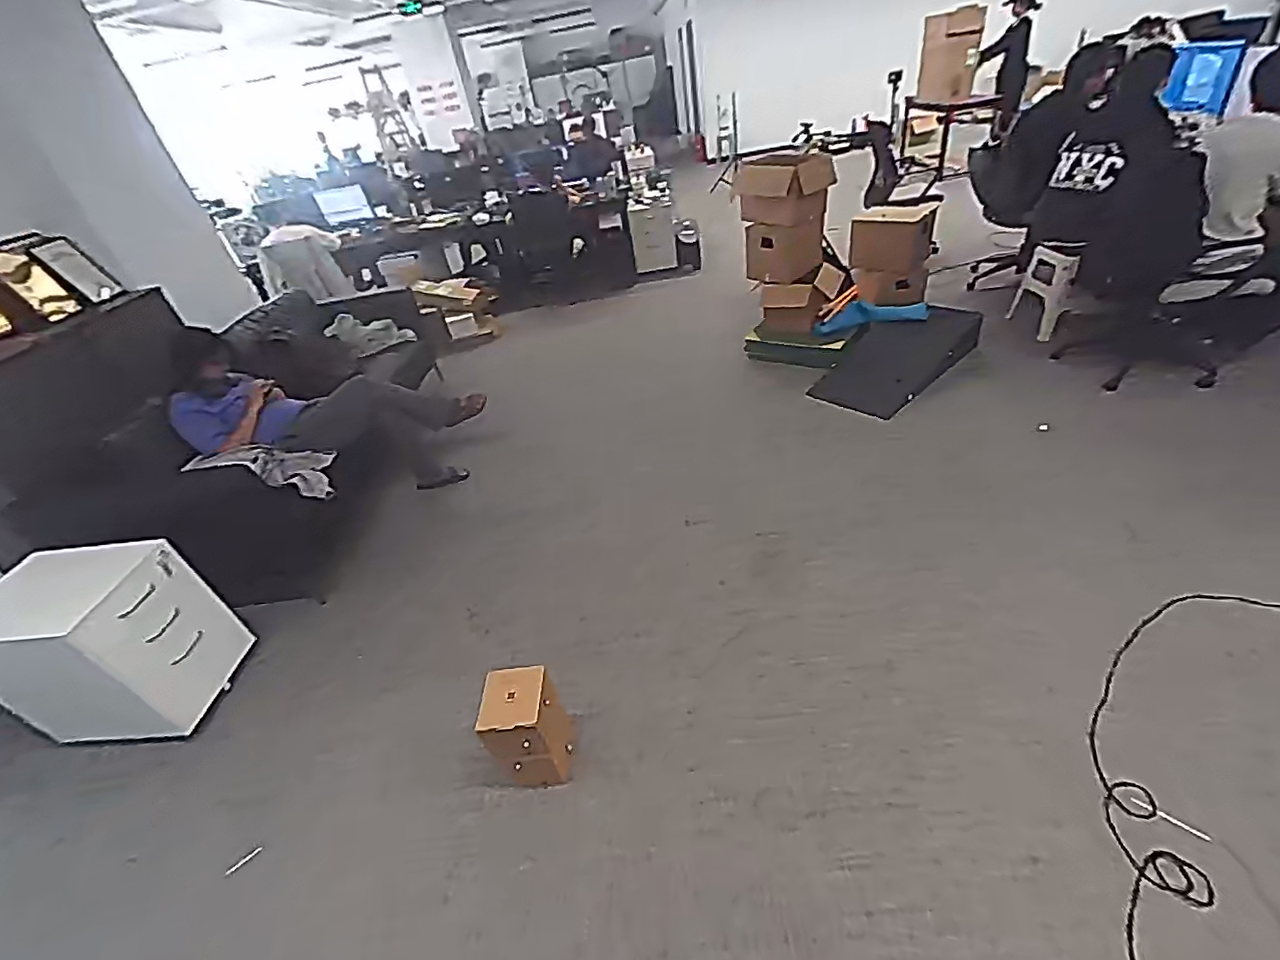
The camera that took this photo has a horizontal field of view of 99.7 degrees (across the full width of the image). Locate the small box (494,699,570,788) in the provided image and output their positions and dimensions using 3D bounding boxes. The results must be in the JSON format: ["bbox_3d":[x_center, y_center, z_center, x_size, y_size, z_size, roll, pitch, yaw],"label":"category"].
[{"bbox_3d":[-0.309,0.777,1.594,0.168,0.176,0.179,-7,35,6],"label":"small box"}]

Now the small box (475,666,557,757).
[{"bbox_3d":[-0.336,0.648,1.500,0.168,0.176,0.179,-8,35,4],"label":"small box"}]
